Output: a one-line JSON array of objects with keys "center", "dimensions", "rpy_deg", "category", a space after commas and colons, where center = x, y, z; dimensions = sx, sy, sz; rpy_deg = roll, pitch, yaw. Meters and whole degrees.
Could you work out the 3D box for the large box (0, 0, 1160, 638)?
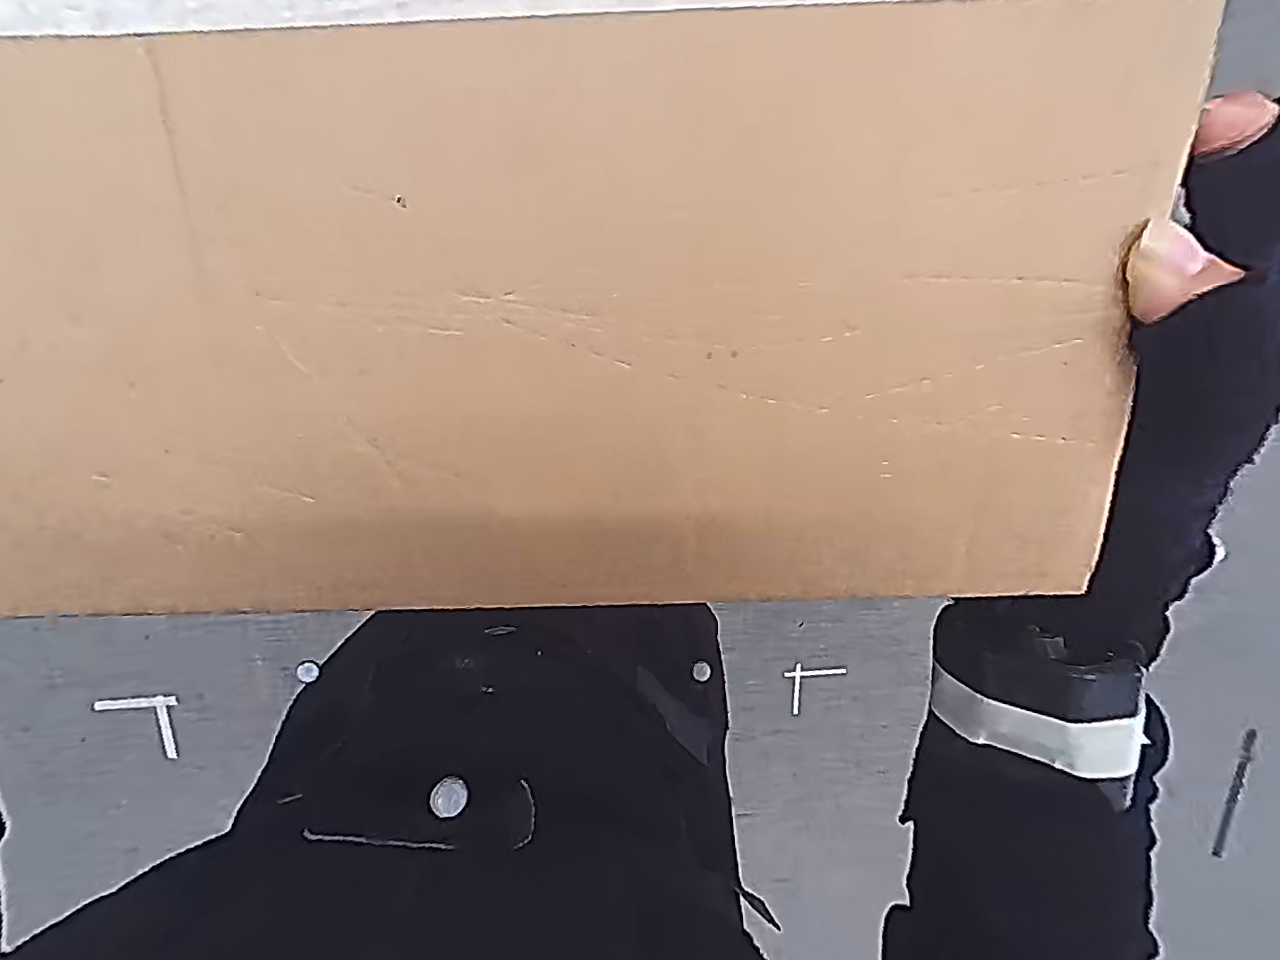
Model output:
[{"center": [-0.074, -0.143, 0.273], "dimensions": [0.408, 0.320, 0.320], "rpy_deg": [-1, 105, 0], "category": "large box"}]
